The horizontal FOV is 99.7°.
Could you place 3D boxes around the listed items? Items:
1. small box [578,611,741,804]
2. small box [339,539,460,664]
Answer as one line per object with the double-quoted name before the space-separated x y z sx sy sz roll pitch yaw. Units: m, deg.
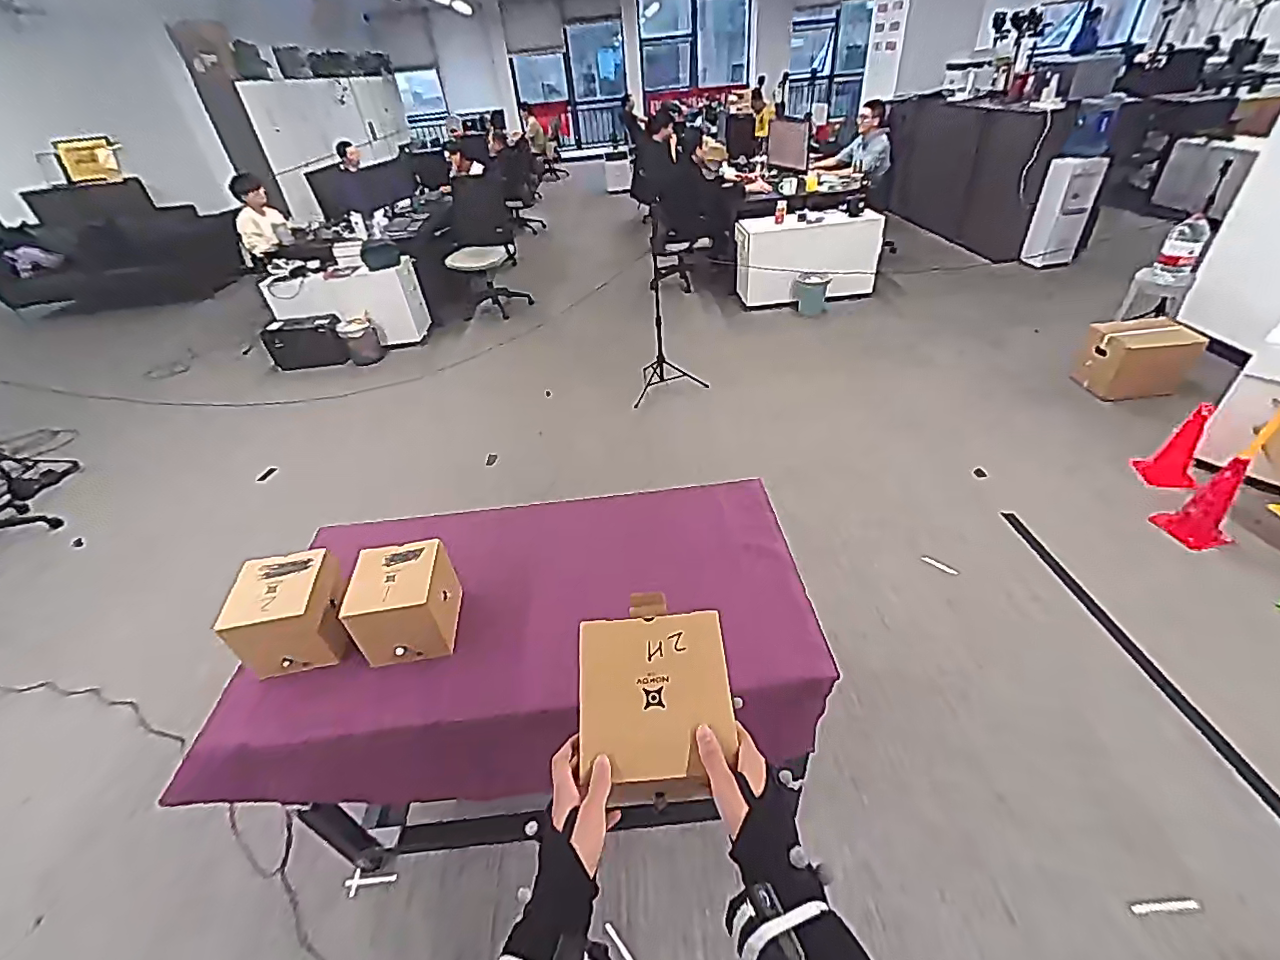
"small box" 0.023 0.275 0.642 0.168 0.176 0.179 -5 52 1
"small box" -0.482 0.250 1.117 0.168 0.176 0.179 -9 39 -3
